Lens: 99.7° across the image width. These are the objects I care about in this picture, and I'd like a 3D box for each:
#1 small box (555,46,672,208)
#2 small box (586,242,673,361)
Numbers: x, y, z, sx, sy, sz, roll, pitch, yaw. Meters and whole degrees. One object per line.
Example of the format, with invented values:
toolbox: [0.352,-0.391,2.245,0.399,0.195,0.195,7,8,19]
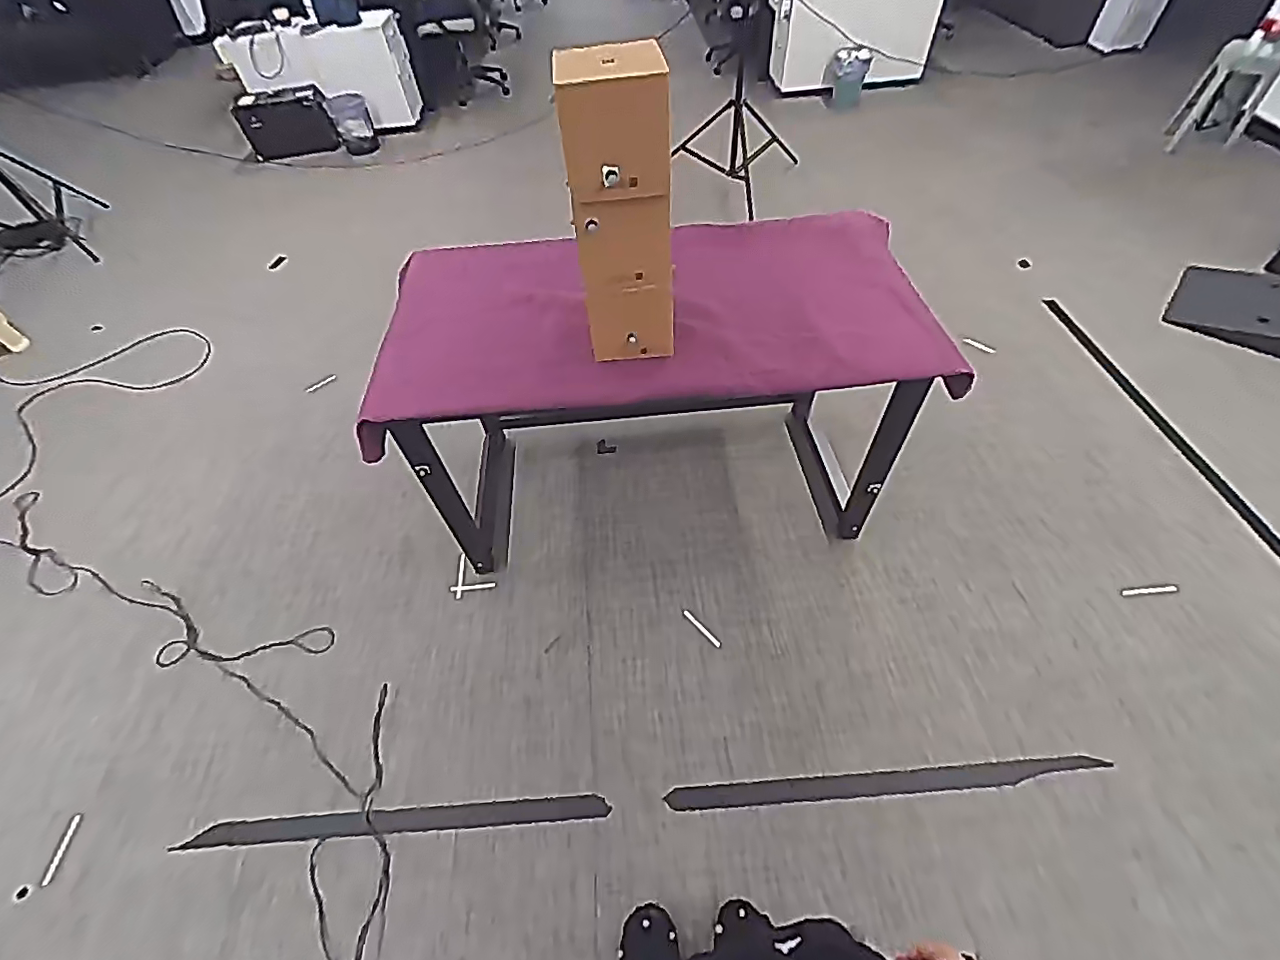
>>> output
small box: [-0.041,-0.564,0.868,0.168,0.176,0.179,-8,52,-1]
small box: [-0.019,-0.371,1.131,0.168,0.176,0.179,-4,52,2]
